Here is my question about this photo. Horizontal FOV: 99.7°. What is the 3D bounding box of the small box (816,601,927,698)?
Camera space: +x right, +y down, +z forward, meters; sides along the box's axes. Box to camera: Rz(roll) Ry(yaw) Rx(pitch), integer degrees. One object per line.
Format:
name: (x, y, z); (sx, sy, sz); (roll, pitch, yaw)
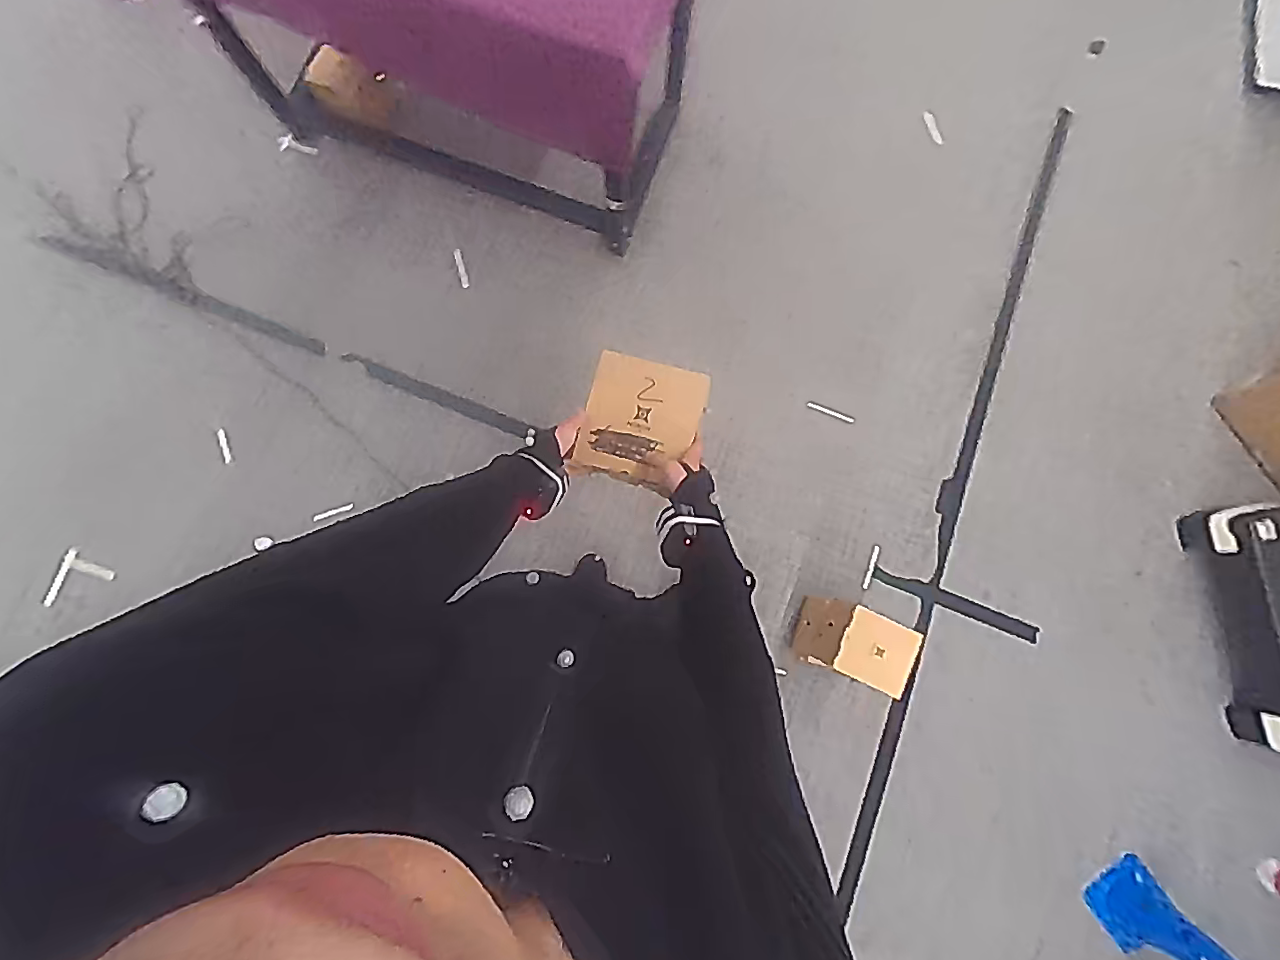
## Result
small box: (0.576, 0.418, 1.367); (0.179, 0.176, 0.168); (25, 83, 4)

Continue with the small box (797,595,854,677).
small box: (0.561, 0.438, 1.528); (0.168, 0.176, 0.179); (20, 82, 2)
